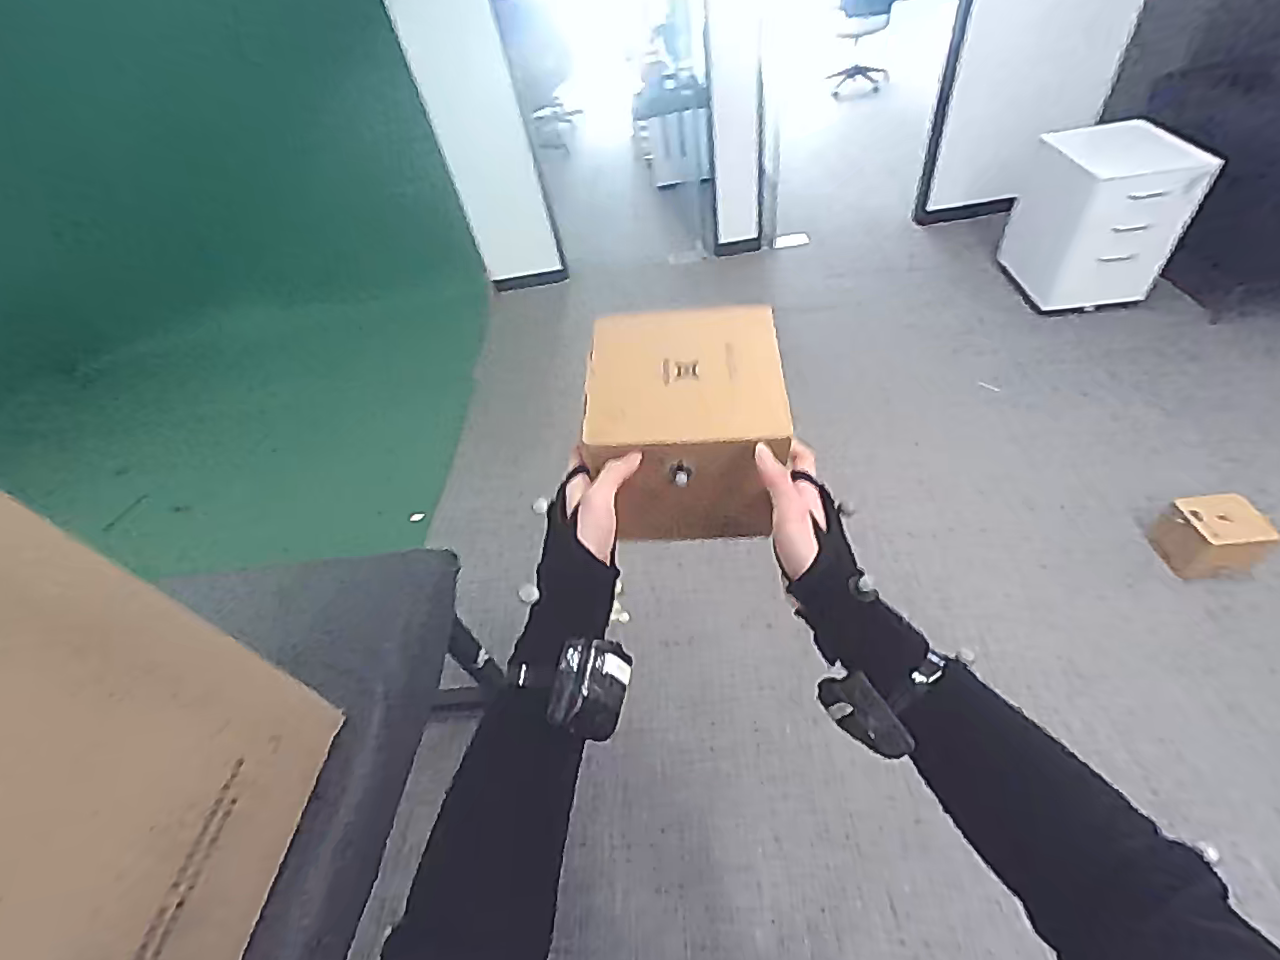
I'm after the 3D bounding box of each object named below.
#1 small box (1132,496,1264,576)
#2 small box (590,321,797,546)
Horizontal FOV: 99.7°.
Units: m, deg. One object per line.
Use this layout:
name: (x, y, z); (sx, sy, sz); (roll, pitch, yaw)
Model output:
small box: (1.615, 0.165, 1.580); (0.179, 0.176, 0.168); (-5, 47, 6)
small box: (0.052, -0.042, 0.558); (0.179, 0.176, 0.168); (0, 54, 4)
